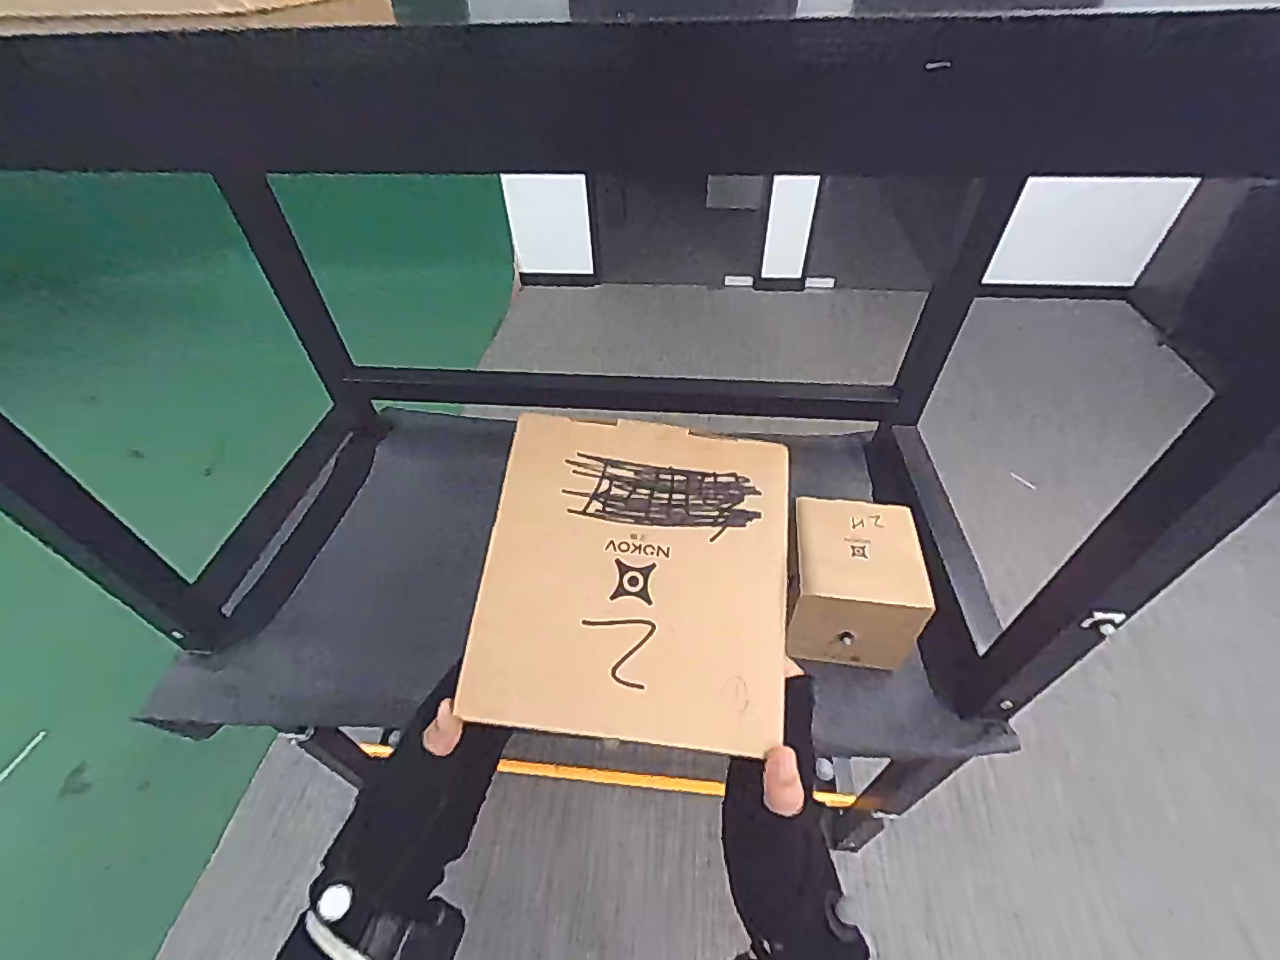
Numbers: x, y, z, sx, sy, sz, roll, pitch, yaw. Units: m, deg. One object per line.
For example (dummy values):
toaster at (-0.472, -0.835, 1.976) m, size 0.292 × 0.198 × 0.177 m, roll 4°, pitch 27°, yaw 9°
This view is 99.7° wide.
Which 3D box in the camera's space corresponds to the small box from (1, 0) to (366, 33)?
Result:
small box at (-0.287, -0.368, 0.305) m, size 0.168 × 0.176 × 0.179 m, roll 4°, pitch 45°, yaw 6°

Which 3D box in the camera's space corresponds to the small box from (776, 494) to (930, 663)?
small box at (0.297, 0.146, 0.793) m, size 0.168 × 0.176 × 0.179 m, roll 6°, pitch 45°, yaw 8°
